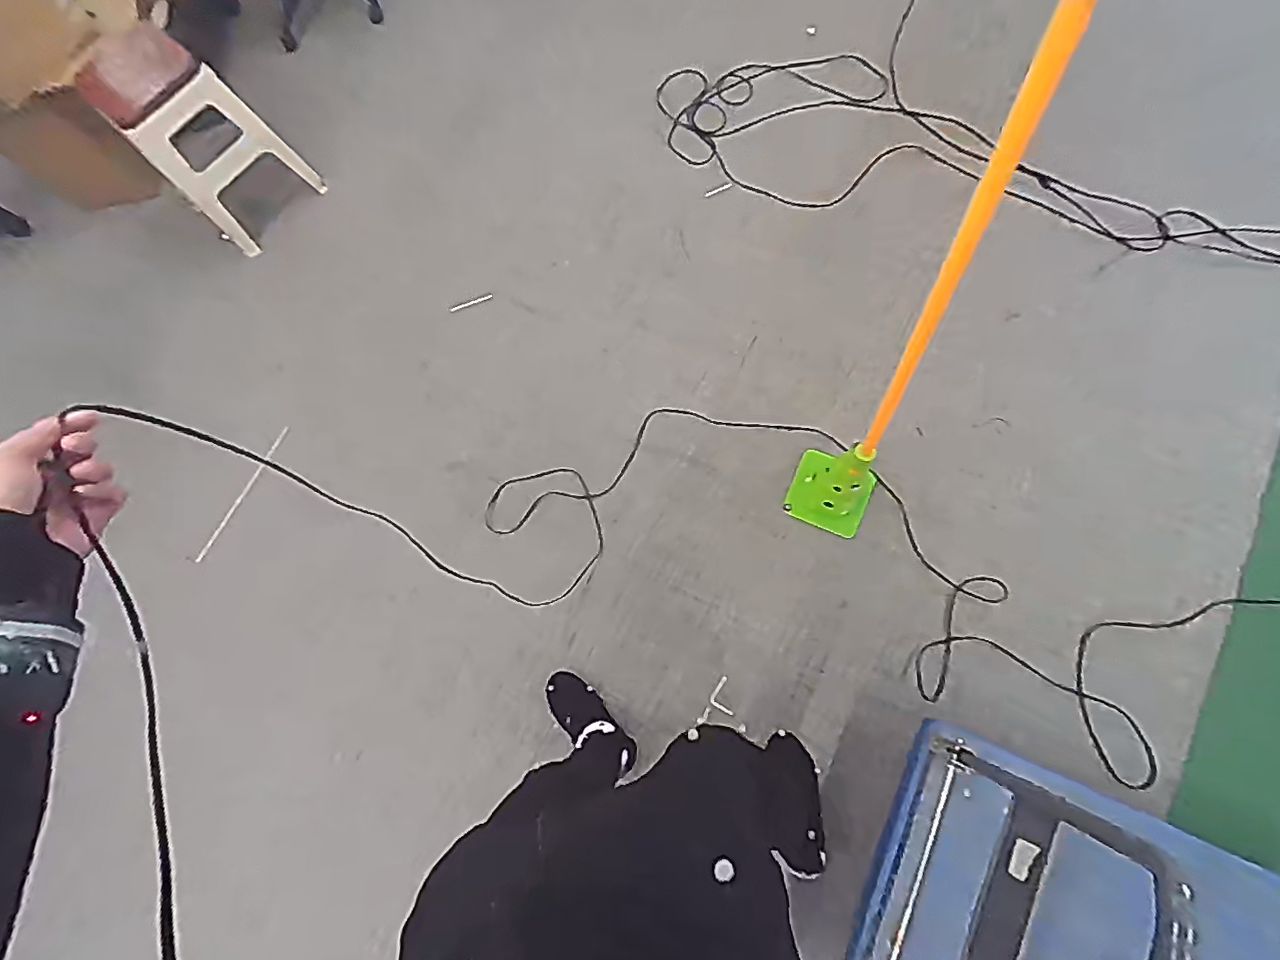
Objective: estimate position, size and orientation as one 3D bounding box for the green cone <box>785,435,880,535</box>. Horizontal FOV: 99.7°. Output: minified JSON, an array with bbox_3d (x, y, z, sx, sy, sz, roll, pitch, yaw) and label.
[{"bbox_3d":[0.496,-0.019,1.285,0.200,0.368,0.202,23,77,11],"label":"green cone"}]
